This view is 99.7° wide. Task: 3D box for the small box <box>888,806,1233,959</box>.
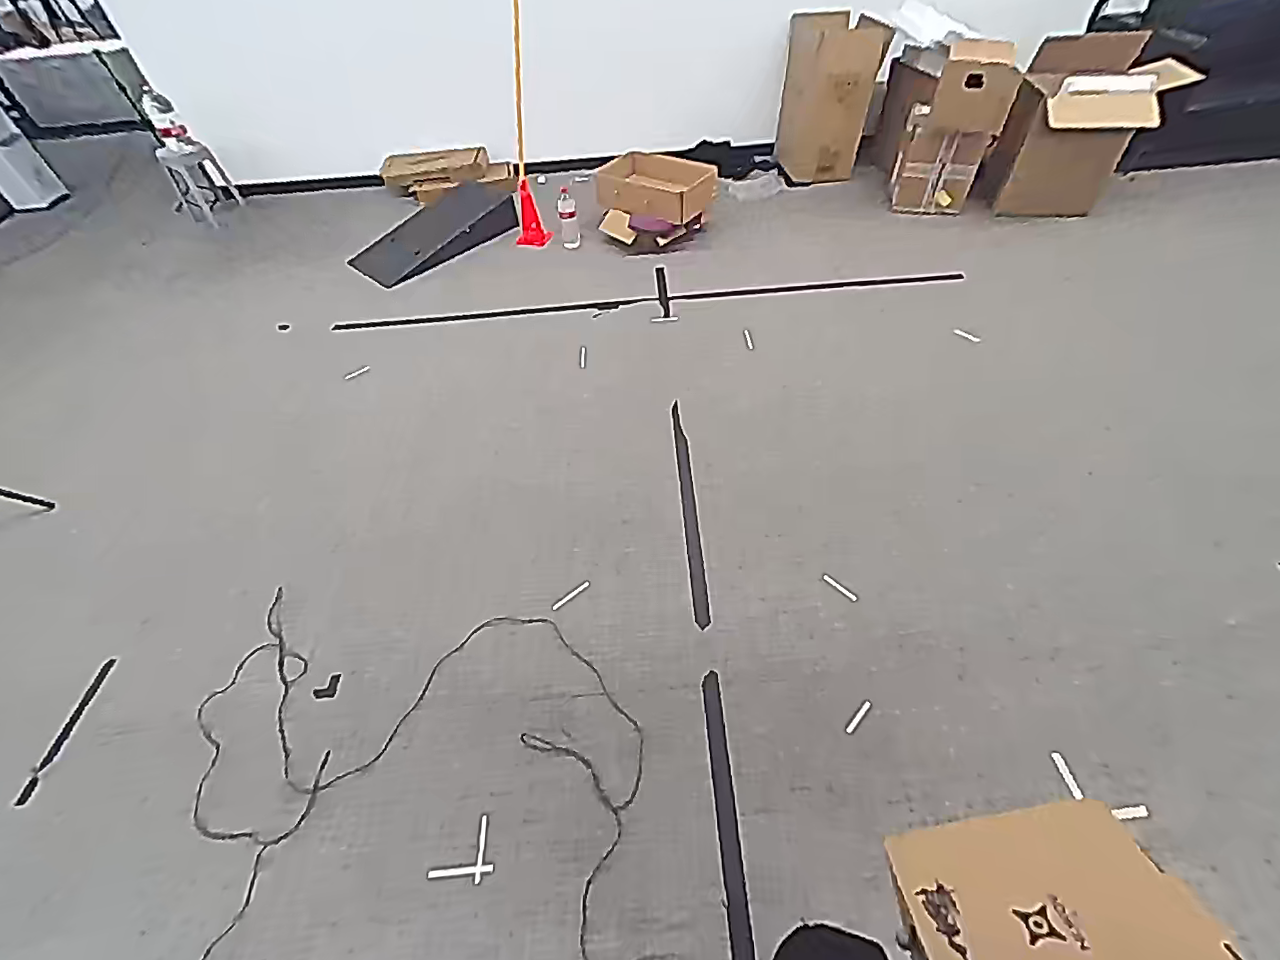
[{"bbox_3d":[0.311,0.386,0.399,0.179,0.176,0.168,-16,15,8],"label":"small box"}]
